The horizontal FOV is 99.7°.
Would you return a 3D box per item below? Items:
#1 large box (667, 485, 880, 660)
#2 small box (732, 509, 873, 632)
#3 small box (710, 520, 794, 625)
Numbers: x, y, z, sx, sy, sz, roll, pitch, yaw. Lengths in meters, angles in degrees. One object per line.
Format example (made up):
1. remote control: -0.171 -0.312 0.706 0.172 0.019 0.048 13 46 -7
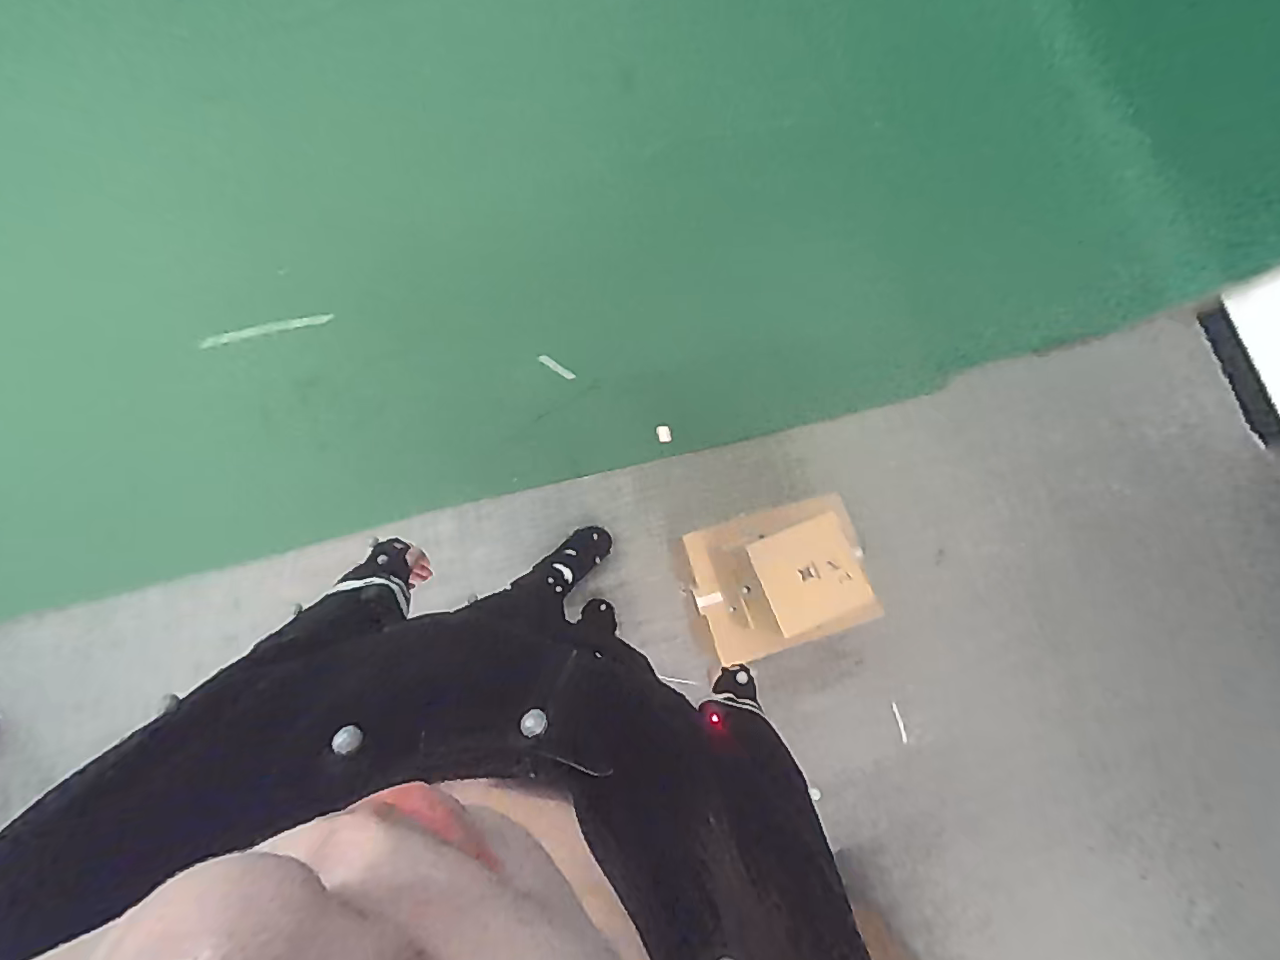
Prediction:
1. large box: 0.318 0.236 1.399 0.408 0.320 0.320 -15 82 -7
2. small box: 0.282 0.166 0.993 0.179 0.176 0.168 -20 82 -8
3. small box: 0.264 0.196 1.154 0.168 0.176 0.179 -16 81 -8
